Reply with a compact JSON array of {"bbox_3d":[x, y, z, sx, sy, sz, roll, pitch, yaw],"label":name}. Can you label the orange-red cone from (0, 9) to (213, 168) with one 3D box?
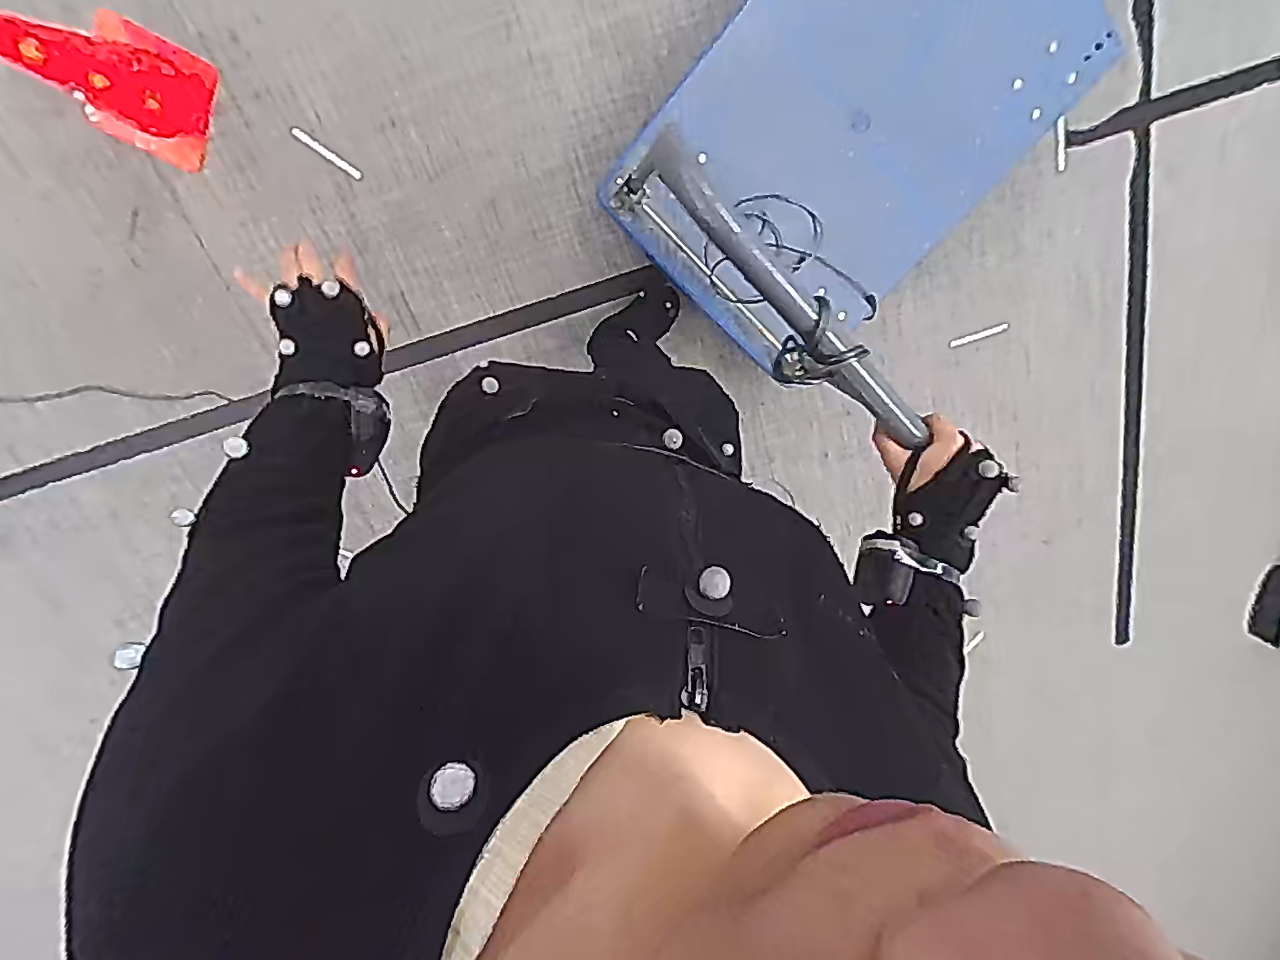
[{"bbox_3d":[-0.899,-0.658,0.852,0.199,0.360,0.198,24,108,-17],"label":"orange-red cone"}]
